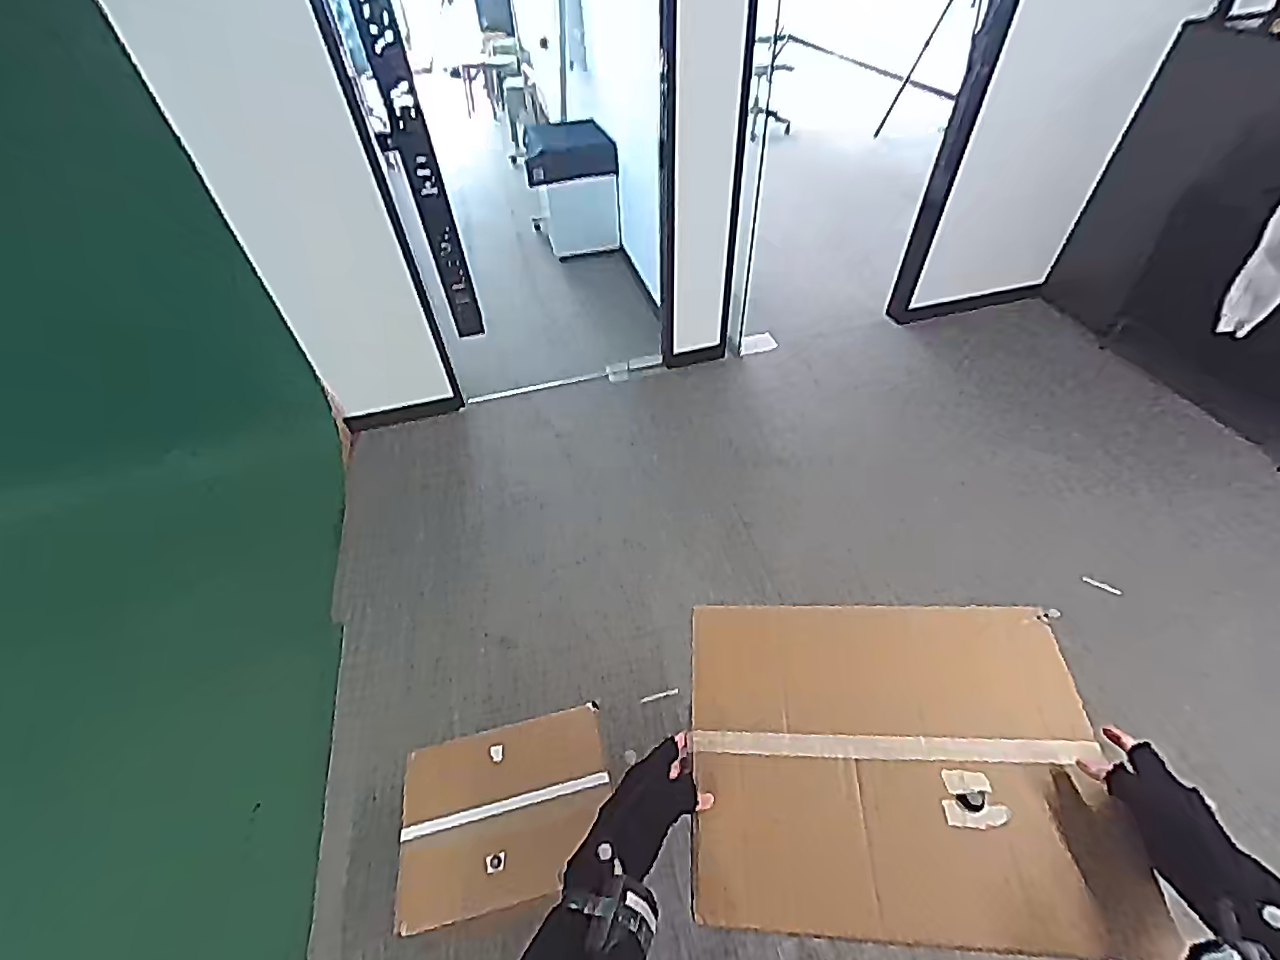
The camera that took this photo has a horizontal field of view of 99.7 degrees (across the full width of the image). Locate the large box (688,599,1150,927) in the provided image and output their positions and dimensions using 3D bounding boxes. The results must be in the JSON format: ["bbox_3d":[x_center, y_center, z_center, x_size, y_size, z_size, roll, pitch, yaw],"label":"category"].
[{"bbox_3d":[0.269,0.361,0.696,0.408,0.320,0.320,-1,53,7],"label":"large box"}]
